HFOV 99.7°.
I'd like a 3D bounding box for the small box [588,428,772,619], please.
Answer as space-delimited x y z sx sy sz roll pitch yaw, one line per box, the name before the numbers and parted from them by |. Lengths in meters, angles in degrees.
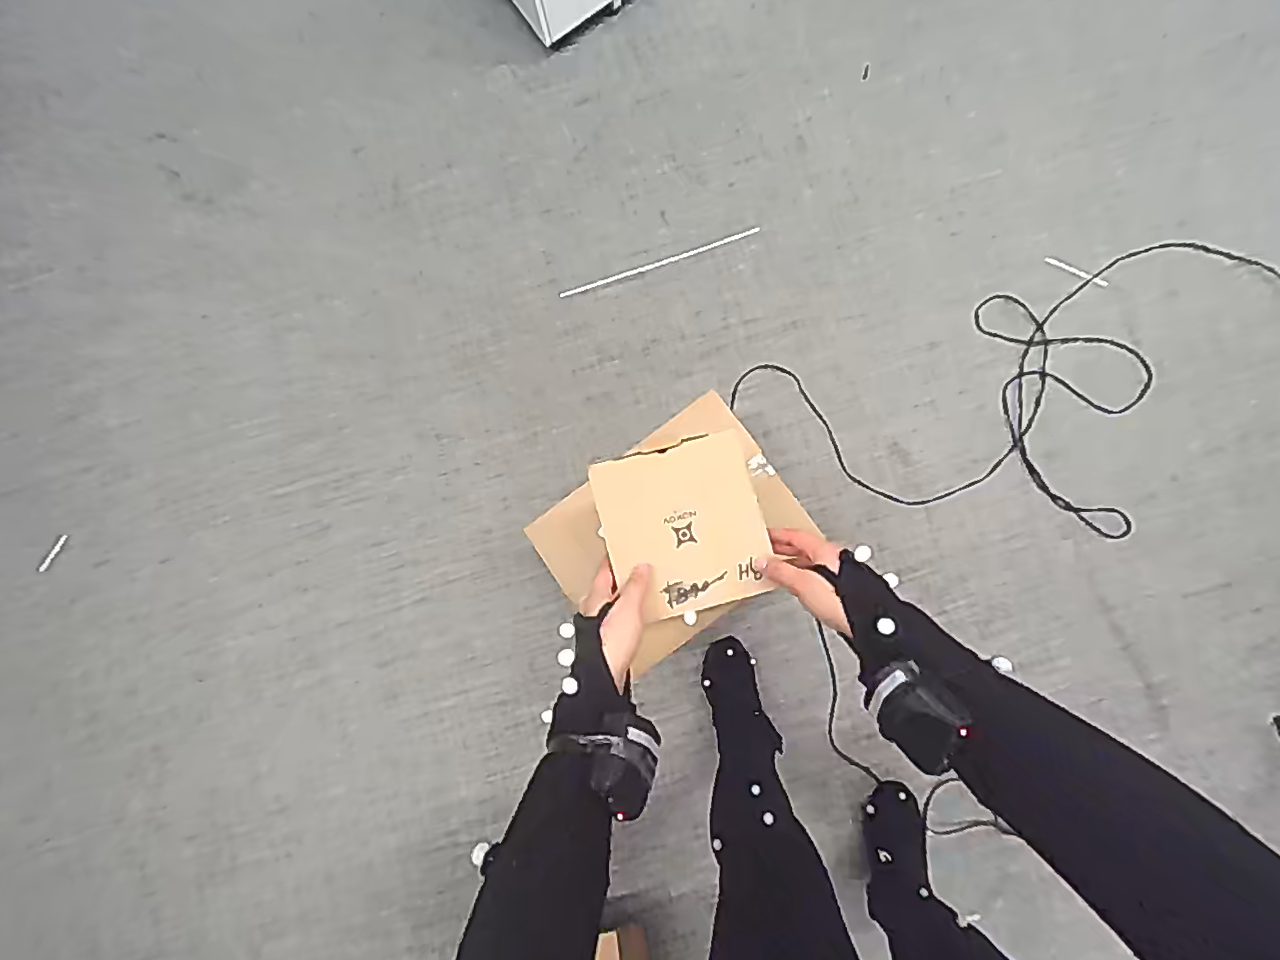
small box | 0.044 0.054 0.658 0.168 0.176 0.179 -15 84 2
